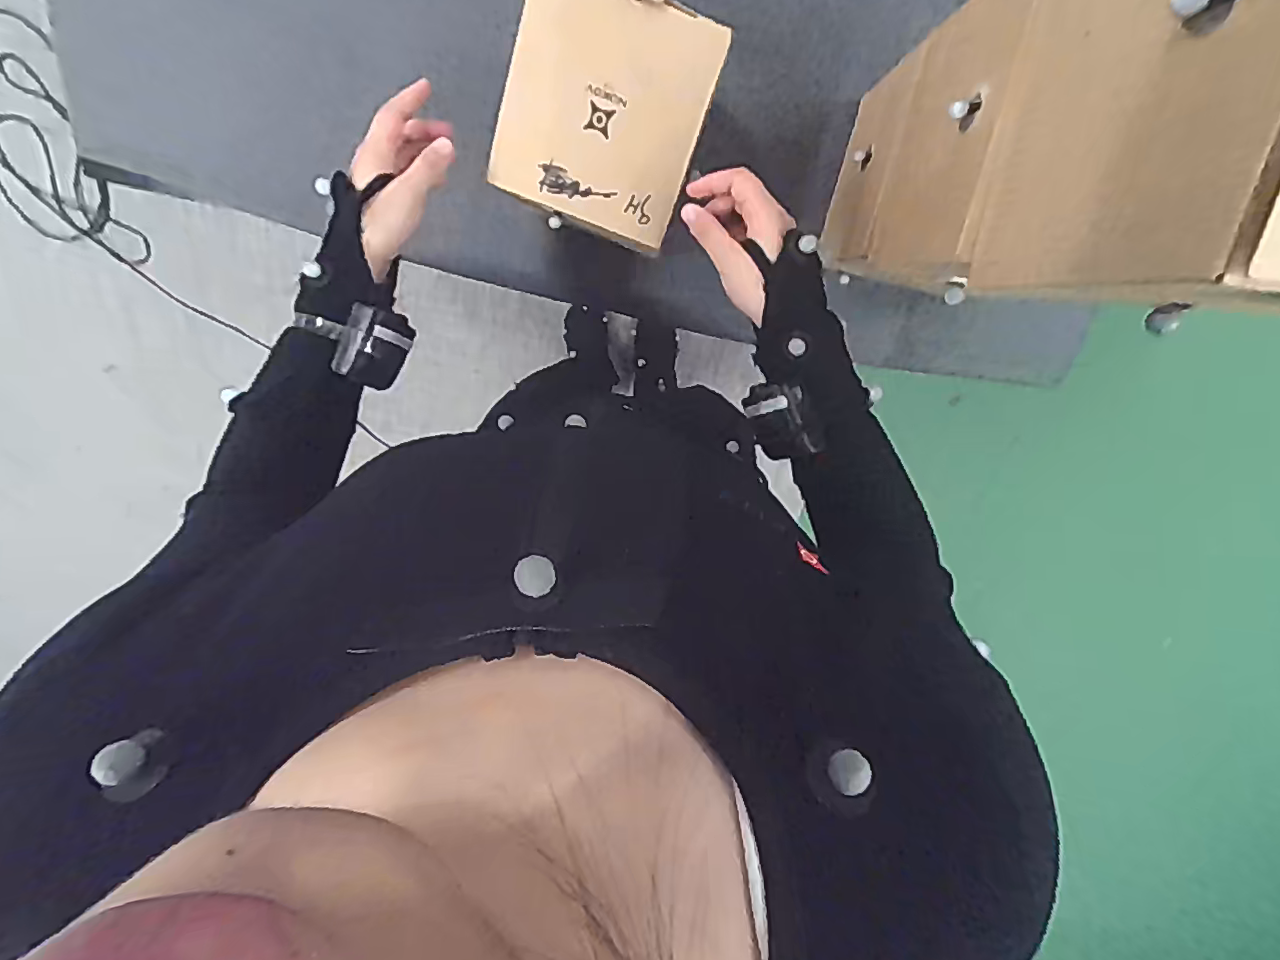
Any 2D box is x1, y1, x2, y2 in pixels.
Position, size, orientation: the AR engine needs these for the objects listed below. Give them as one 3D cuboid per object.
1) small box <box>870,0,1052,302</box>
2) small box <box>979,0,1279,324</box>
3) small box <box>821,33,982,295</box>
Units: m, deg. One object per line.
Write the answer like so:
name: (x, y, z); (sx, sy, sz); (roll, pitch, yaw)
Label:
small box: (0.290, -0.229, 0.386); (0.168, 0.176, 0.179); (9, 110, -1)
small box: (0.288, -0.164, 0.234); (0.168, 0.176, 0.179); (6, 110, 1)
small box: (0.298, -0.287, 0.538); (0.168, 0.176, 0.179); (12, 109, -3)
